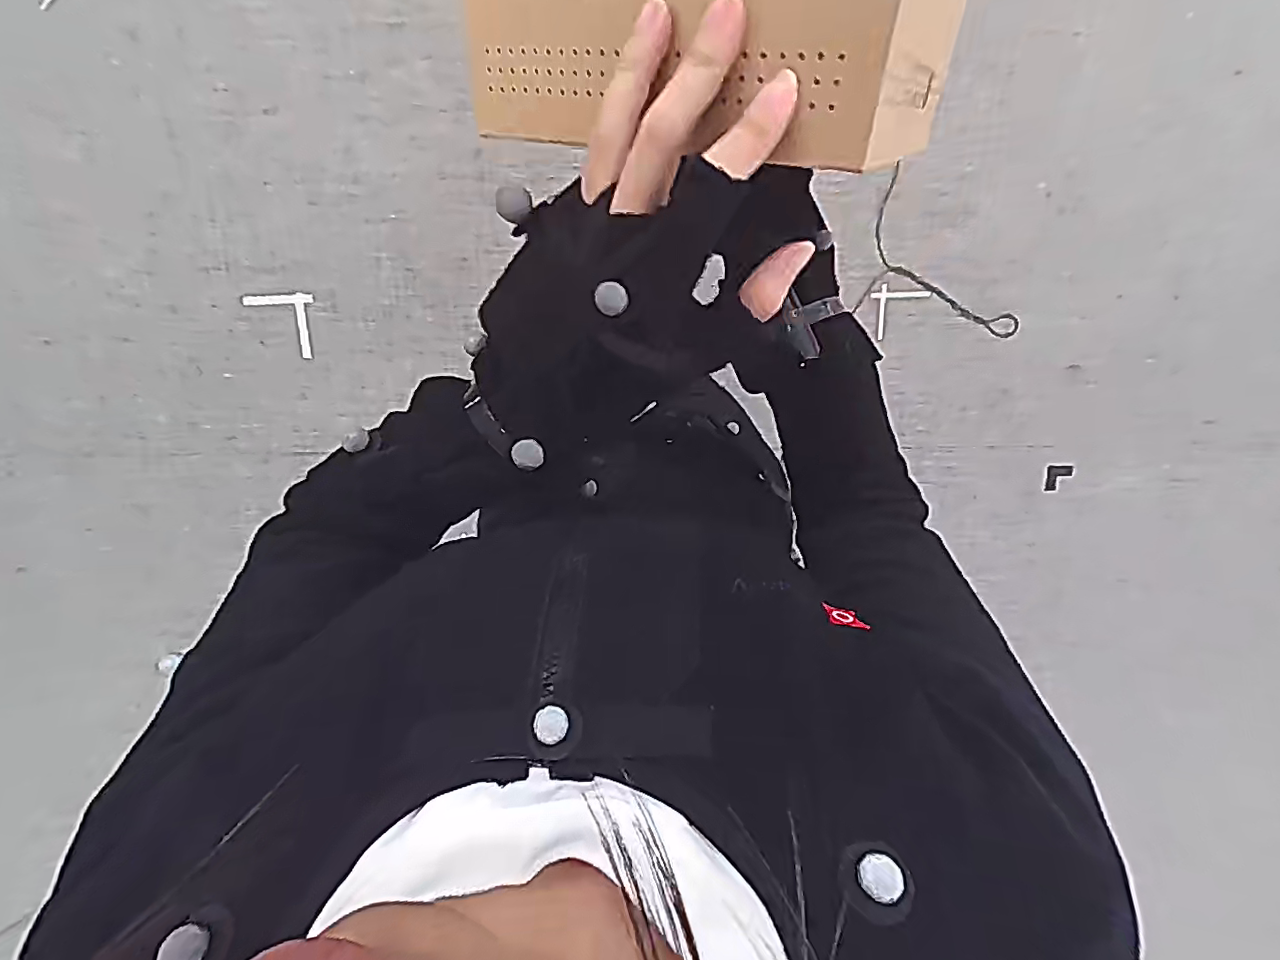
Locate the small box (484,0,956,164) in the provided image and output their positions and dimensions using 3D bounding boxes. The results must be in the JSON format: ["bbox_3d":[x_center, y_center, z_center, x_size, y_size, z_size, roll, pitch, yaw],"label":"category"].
[{"bbox_3d":[0.046,-0.243,0.241,0.179,0.168,0.176,22,128,25],"label":"small box"}]
